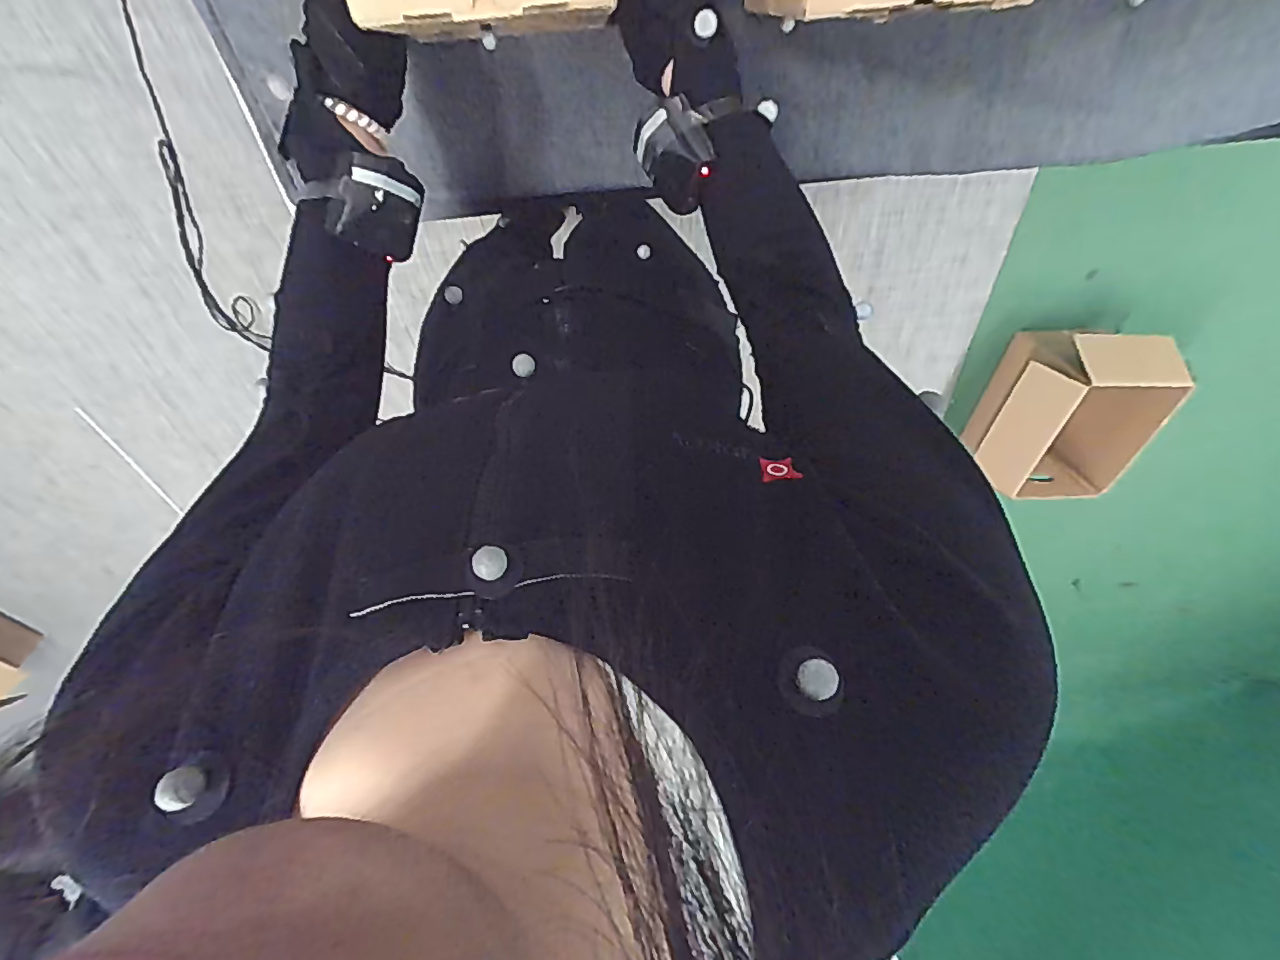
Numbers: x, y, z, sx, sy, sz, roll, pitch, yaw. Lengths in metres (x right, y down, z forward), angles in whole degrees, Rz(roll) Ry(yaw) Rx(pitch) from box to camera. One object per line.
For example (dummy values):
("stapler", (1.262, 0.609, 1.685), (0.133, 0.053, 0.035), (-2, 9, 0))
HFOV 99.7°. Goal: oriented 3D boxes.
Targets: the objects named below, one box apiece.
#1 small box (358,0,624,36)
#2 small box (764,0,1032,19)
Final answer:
("small box", (-0.106, -0.409, 0.350), (0.168, 0.176, 0.179), (-7, 129, -3))
("small box", (0.181, -0.437, 0.370), (0.168, 0.176, 0.179), (-6, 132, -3))
